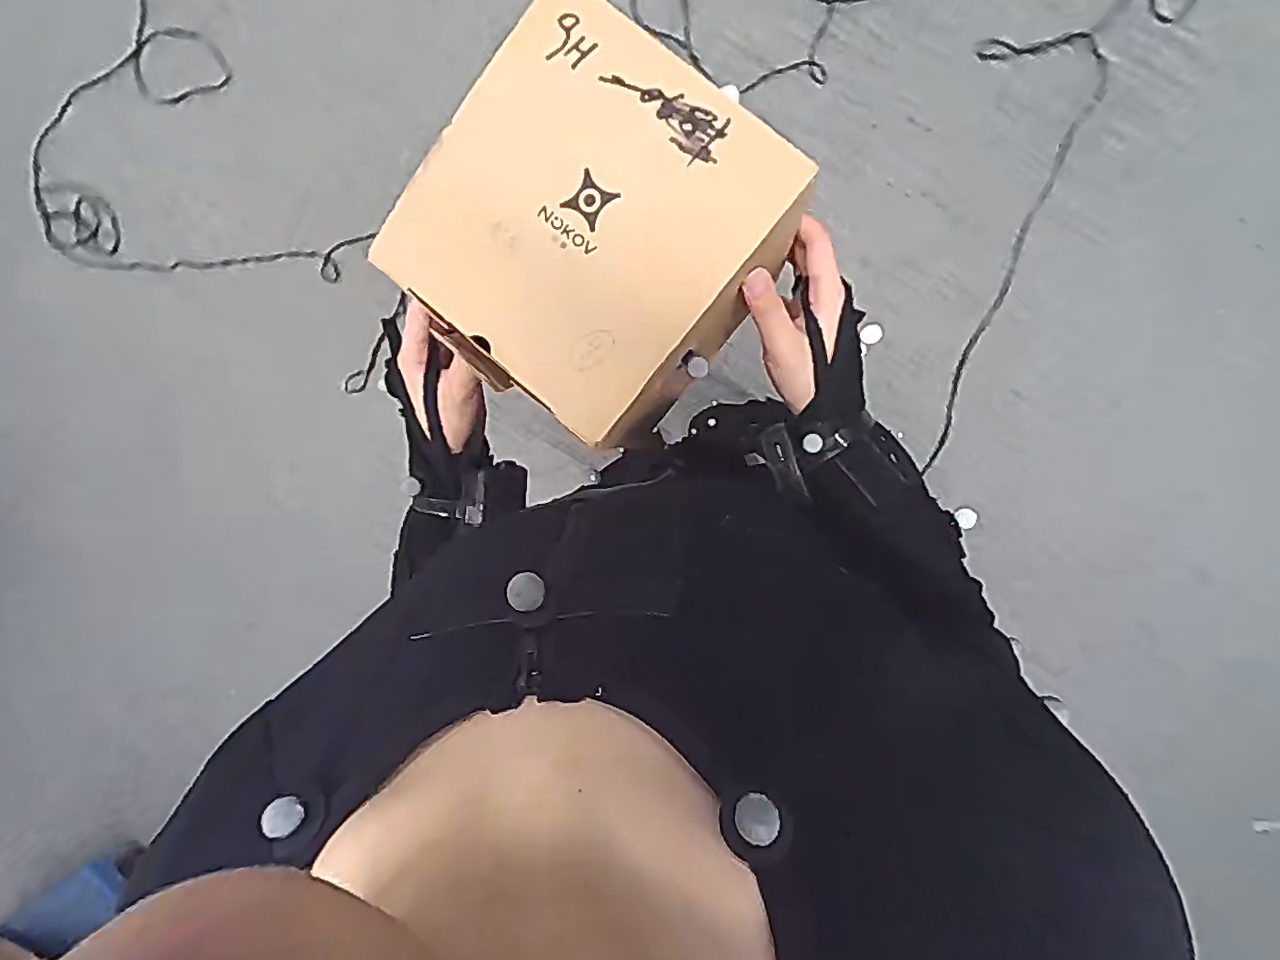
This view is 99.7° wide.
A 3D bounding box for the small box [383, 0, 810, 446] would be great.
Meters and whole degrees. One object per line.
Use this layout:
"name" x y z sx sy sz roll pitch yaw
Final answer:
"small box" -0.017 -0.140 0.360 0.168 0.176 0.179 41 99 3
